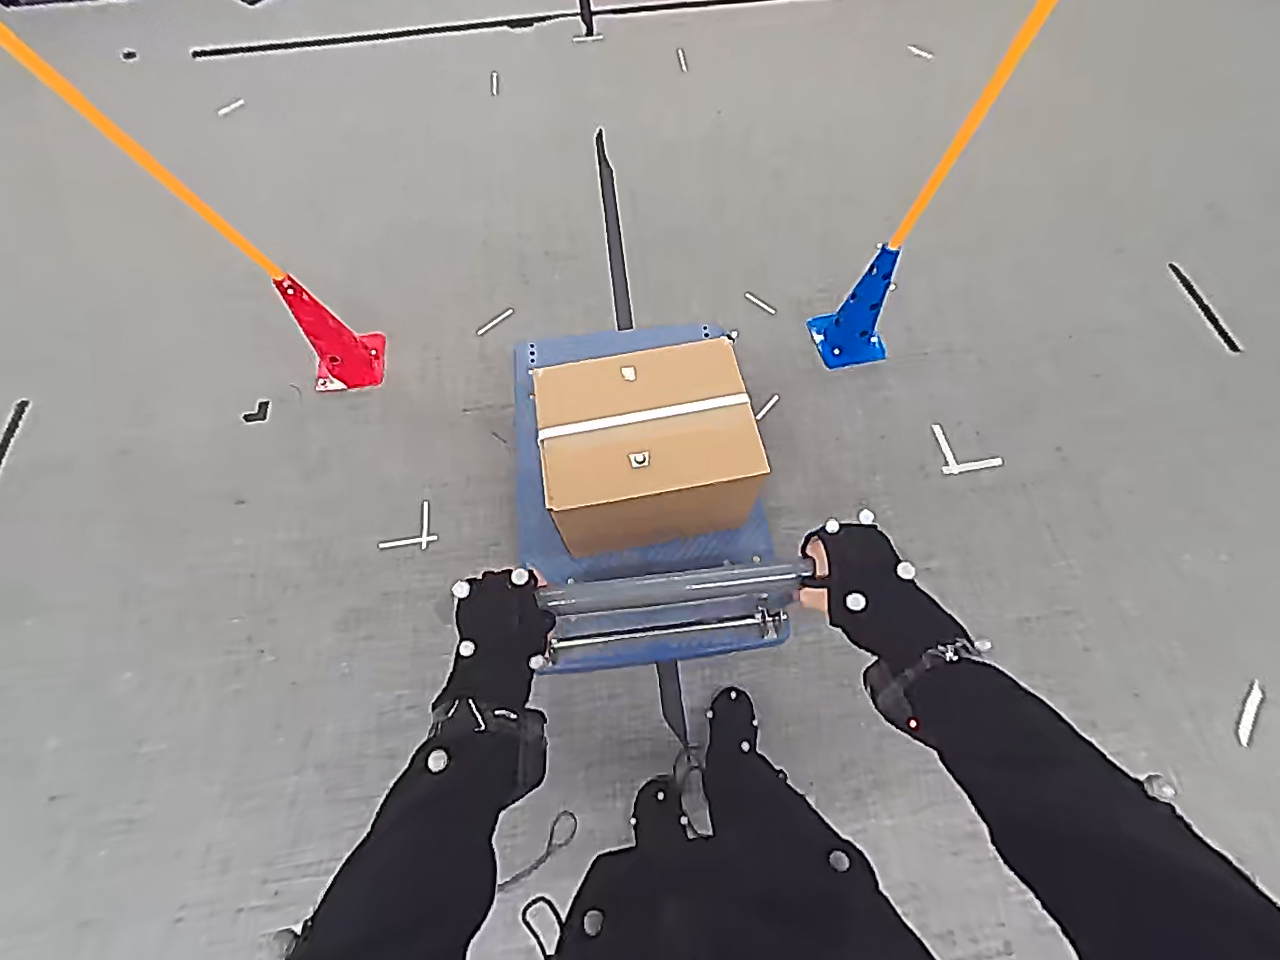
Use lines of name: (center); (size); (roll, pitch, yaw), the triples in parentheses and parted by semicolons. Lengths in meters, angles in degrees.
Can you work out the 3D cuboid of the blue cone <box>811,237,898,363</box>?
blue cone: (0.646, -0.518, 1.538); (0.193, 0.380, 0.192); (-10, 65, -4)
